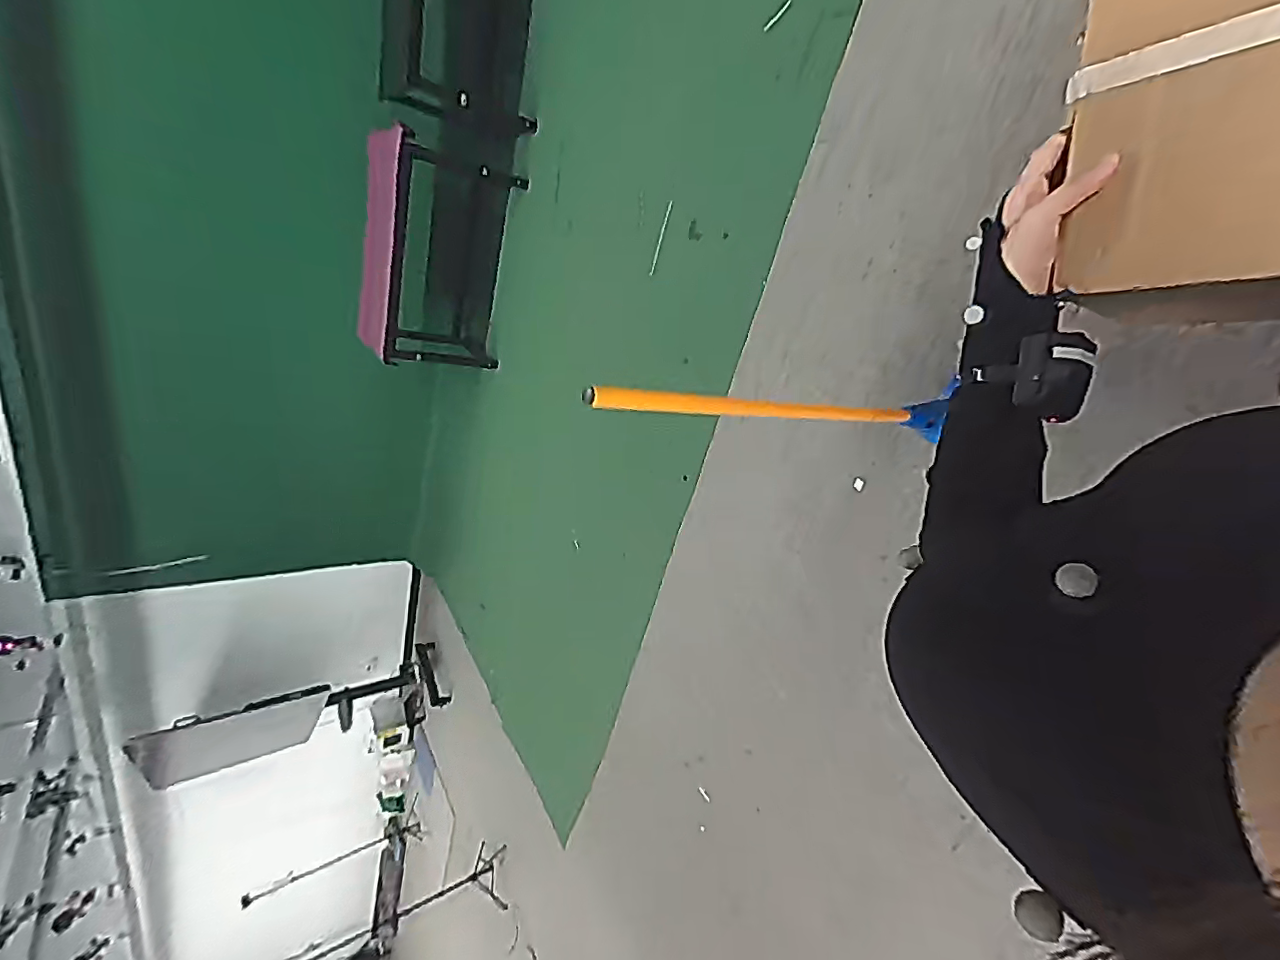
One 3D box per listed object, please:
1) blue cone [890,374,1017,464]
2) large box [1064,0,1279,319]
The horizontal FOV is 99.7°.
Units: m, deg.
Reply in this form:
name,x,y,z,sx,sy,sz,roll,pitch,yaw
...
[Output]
name,x,y,z,sx,sy,sz,roll,pitch,yaw
blue cone,0.727,-0.155,1.314,0.192,0.380,0.193,50,128,39
large box,0.585,-0.301,0.371,0.408,0.320,0.320,11,105,46
